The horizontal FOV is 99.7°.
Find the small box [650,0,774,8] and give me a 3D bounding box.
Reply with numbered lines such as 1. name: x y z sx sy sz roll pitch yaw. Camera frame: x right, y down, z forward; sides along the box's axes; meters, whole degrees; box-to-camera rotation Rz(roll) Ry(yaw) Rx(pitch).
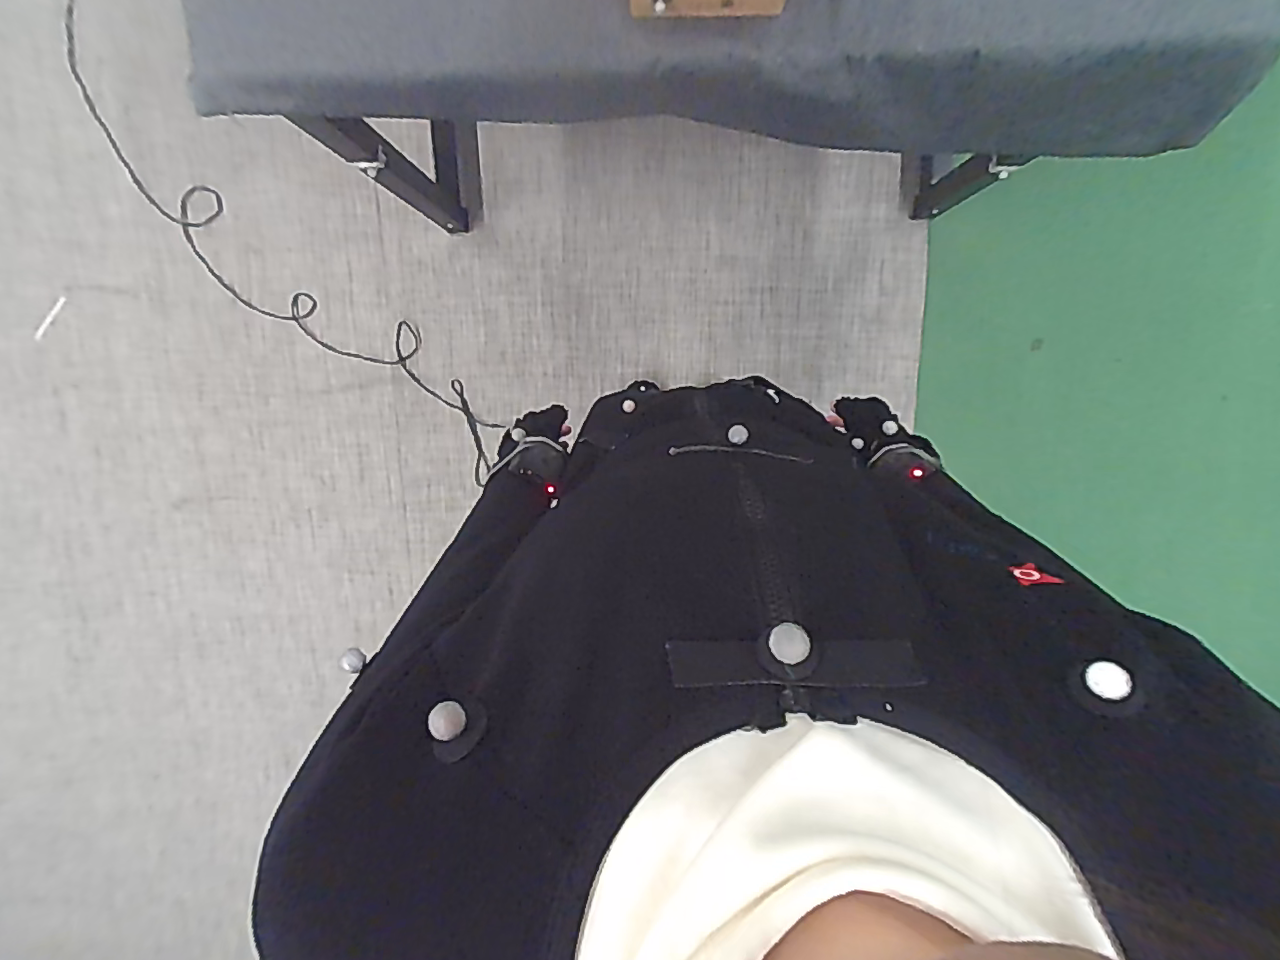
1. small box: 0.071 -0.596 0.513 0.168 0.176 0.179 1 99 1
